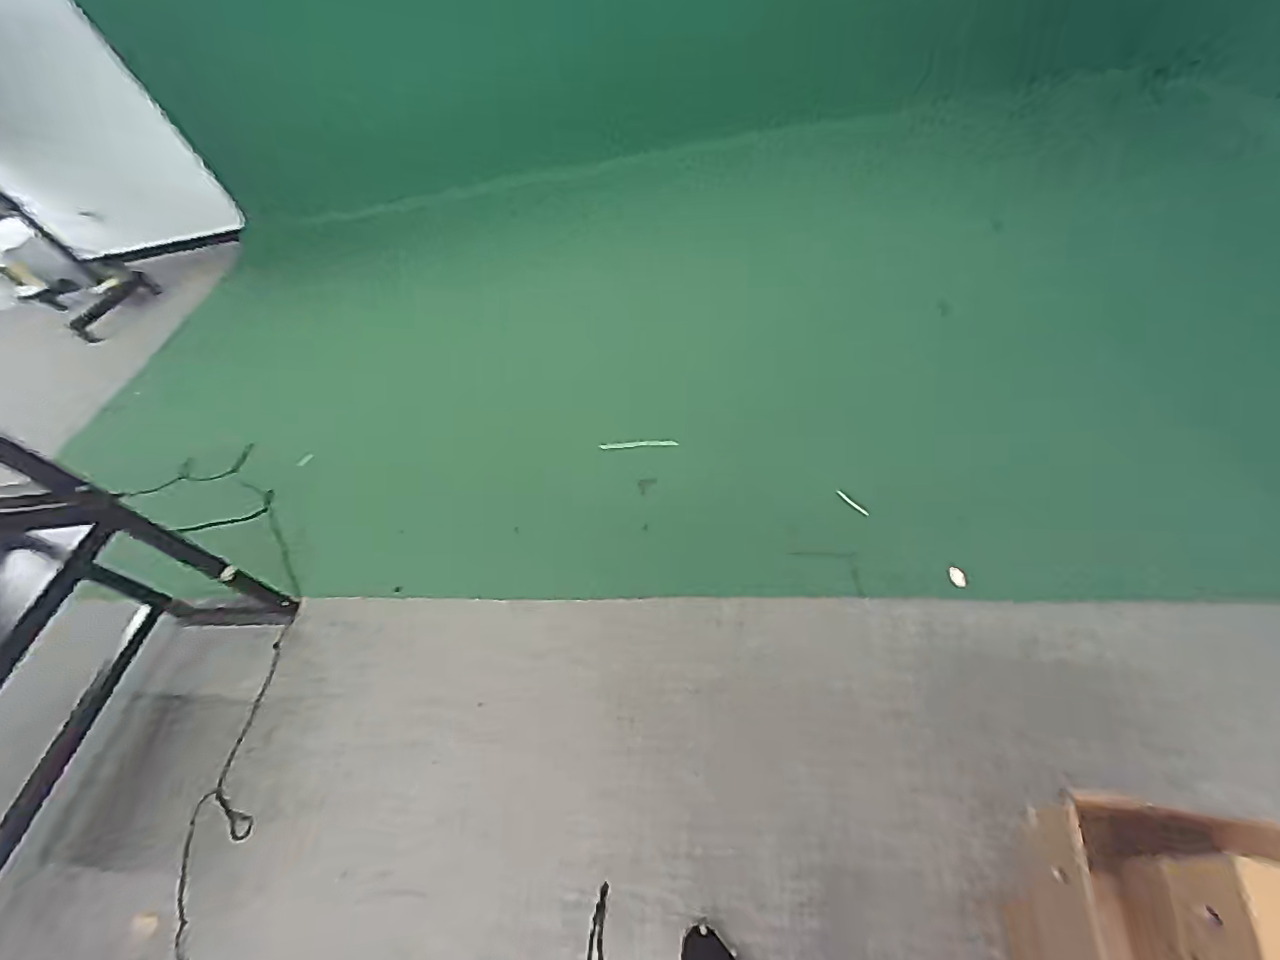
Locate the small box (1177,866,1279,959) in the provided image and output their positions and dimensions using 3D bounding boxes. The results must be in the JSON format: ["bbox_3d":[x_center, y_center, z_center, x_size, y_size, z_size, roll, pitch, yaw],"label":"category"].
[{"bbox_3d":[0.747,0.549,0.591,0.179,0.176,0.168,4,55,18],"label":"small box"}]
